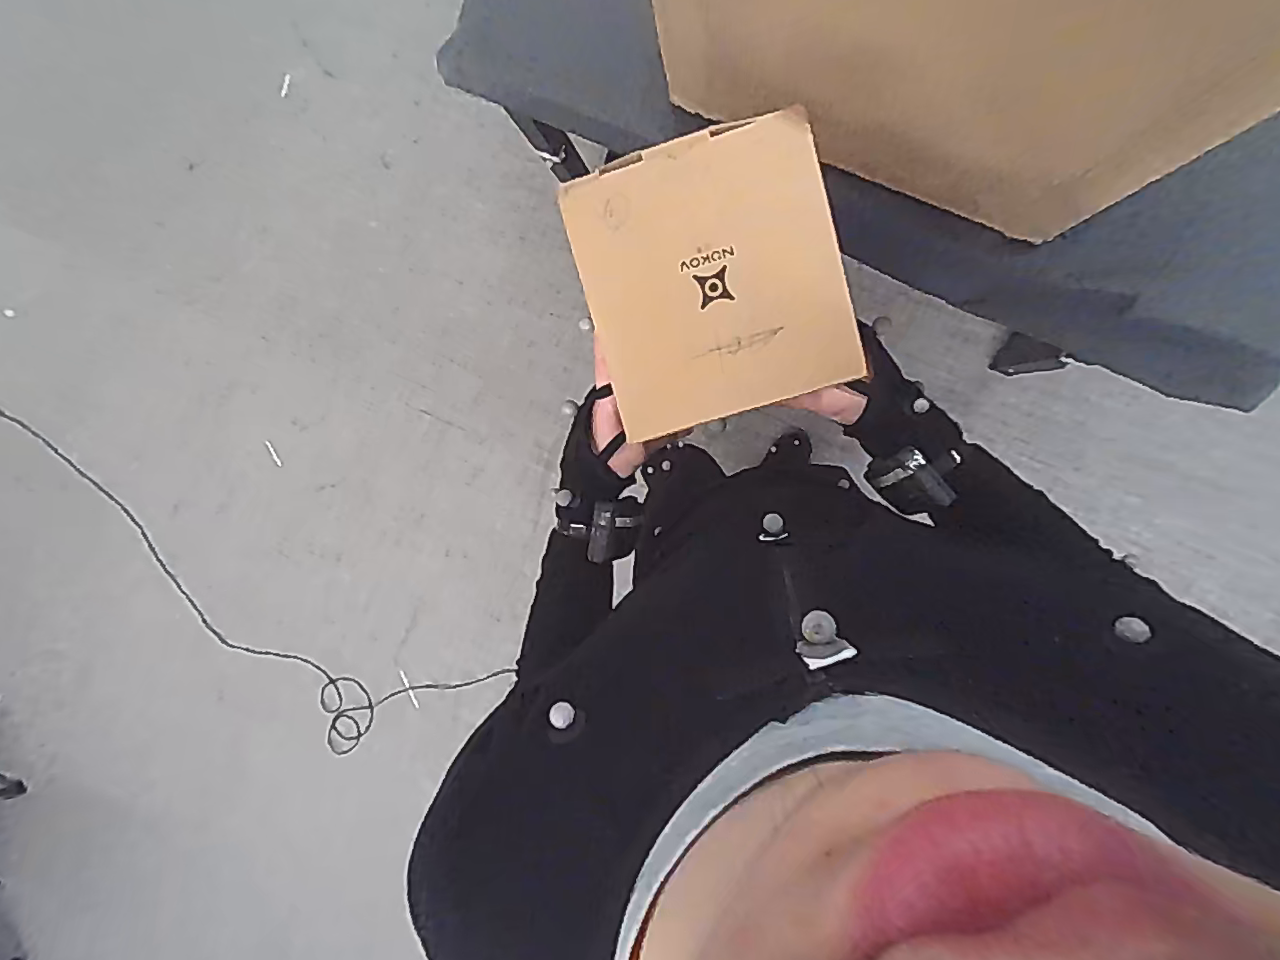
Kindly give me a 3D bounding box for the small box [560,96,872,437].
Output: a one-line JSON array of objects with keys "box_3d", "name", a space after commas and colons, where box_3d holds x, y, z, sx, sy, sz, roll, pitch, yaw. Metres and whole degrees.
[{"box_3d": [0.054, -0.143, 0.426, 0.168, 0.176, 0.179, -17, 98, 7], "name": "small box"}]
